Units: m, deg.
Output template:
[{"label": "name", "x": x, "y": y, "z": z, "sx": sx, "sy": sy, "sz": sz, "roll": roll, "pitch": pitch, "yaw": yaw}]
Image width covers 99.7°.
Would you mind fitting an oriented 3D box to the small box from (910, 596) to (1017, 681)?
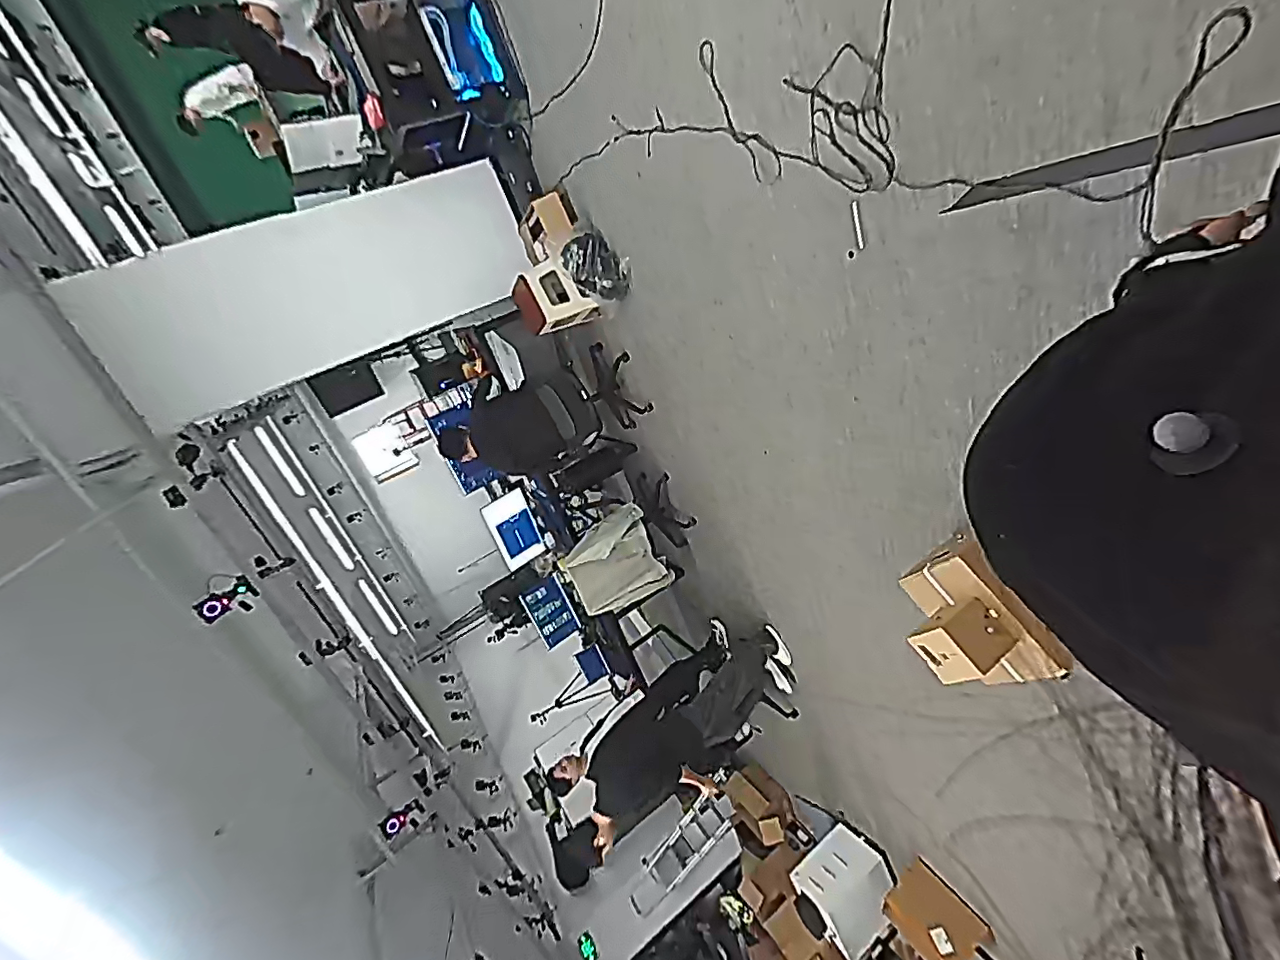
[{"label": "small box", "x": 0.958, "y": 0.469, "z": 1.603, "sx": 0.168, "sy": 0.176, "sz": 0.179, "roll": 53, "pitch": 158, "yaw": 17}]
